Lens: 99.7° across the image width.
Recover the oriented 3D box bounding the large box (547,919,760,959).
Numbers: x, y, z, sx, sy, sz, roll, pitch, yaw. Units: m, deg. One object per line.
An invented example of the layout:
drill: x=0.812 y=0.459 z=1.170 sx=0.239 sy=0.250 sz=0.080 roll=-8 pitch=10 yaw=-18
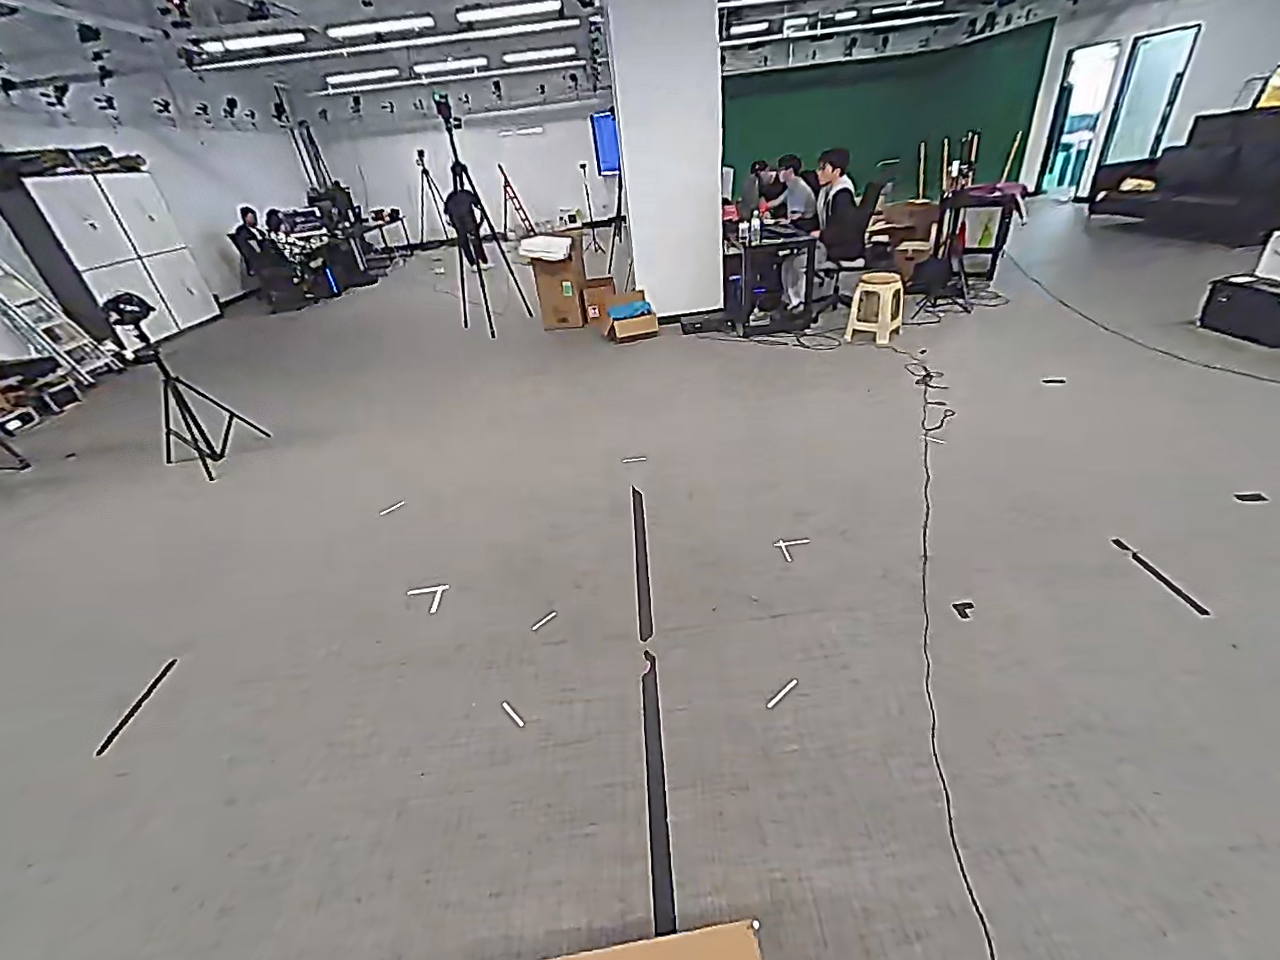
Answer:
large box: x=0.040 y=1.044 z=0.932 sx=0.408 sy=0.320 sz=0.320 roll=-9 pitch=31 yaw=-3
